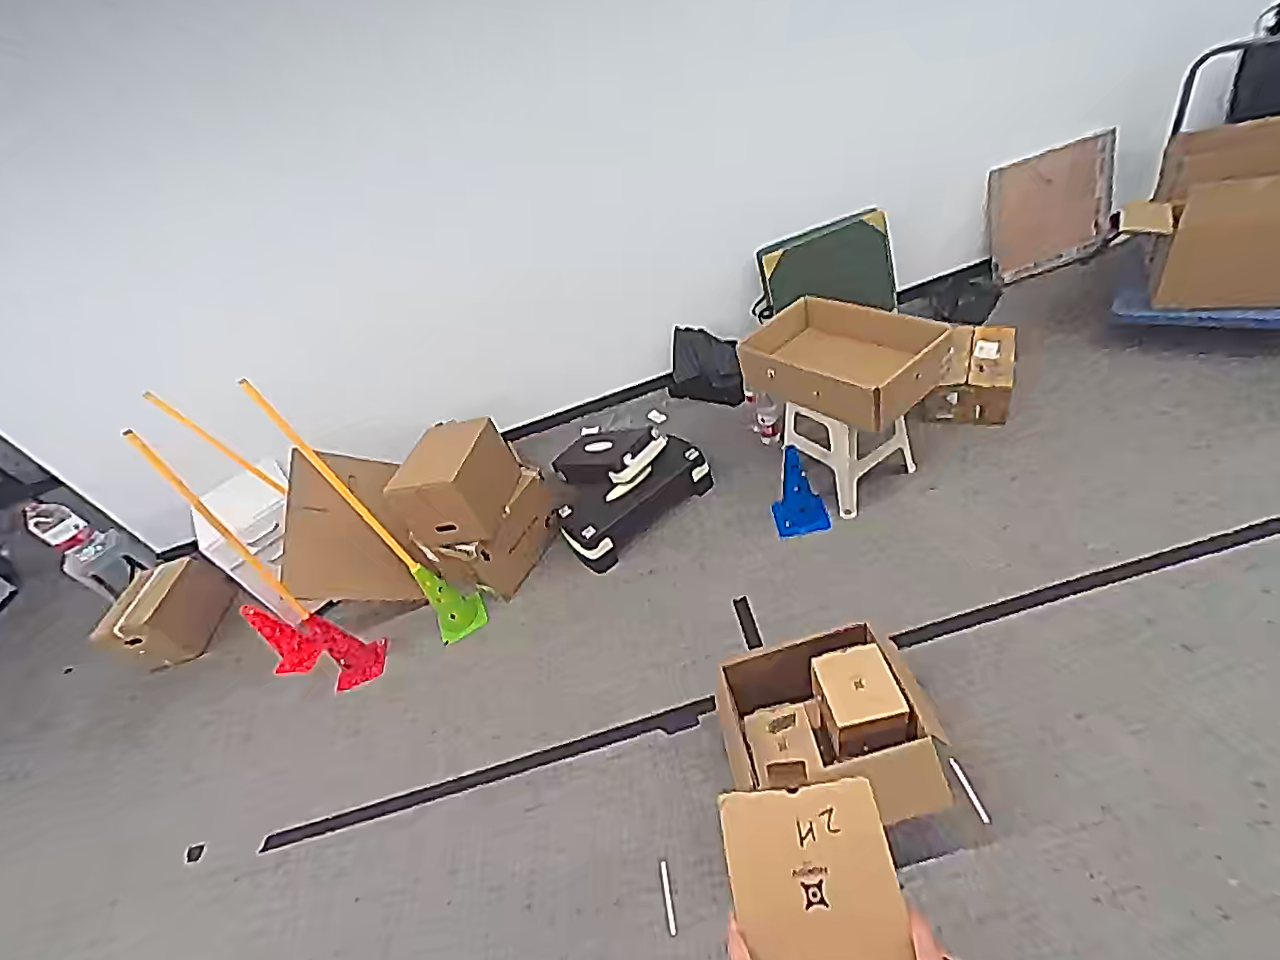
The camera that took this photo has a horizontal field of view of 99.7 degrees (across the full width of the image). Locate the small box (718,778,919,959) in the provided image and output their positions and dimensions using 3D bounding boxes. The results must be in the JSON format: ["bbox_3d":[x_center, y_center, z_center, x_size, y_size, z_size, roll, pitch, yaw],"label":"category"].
[{"bbox_3d":[0.187,0.448,0.608,0.168,0.176,0.179,-10,56,5],"label":"small box"}]
